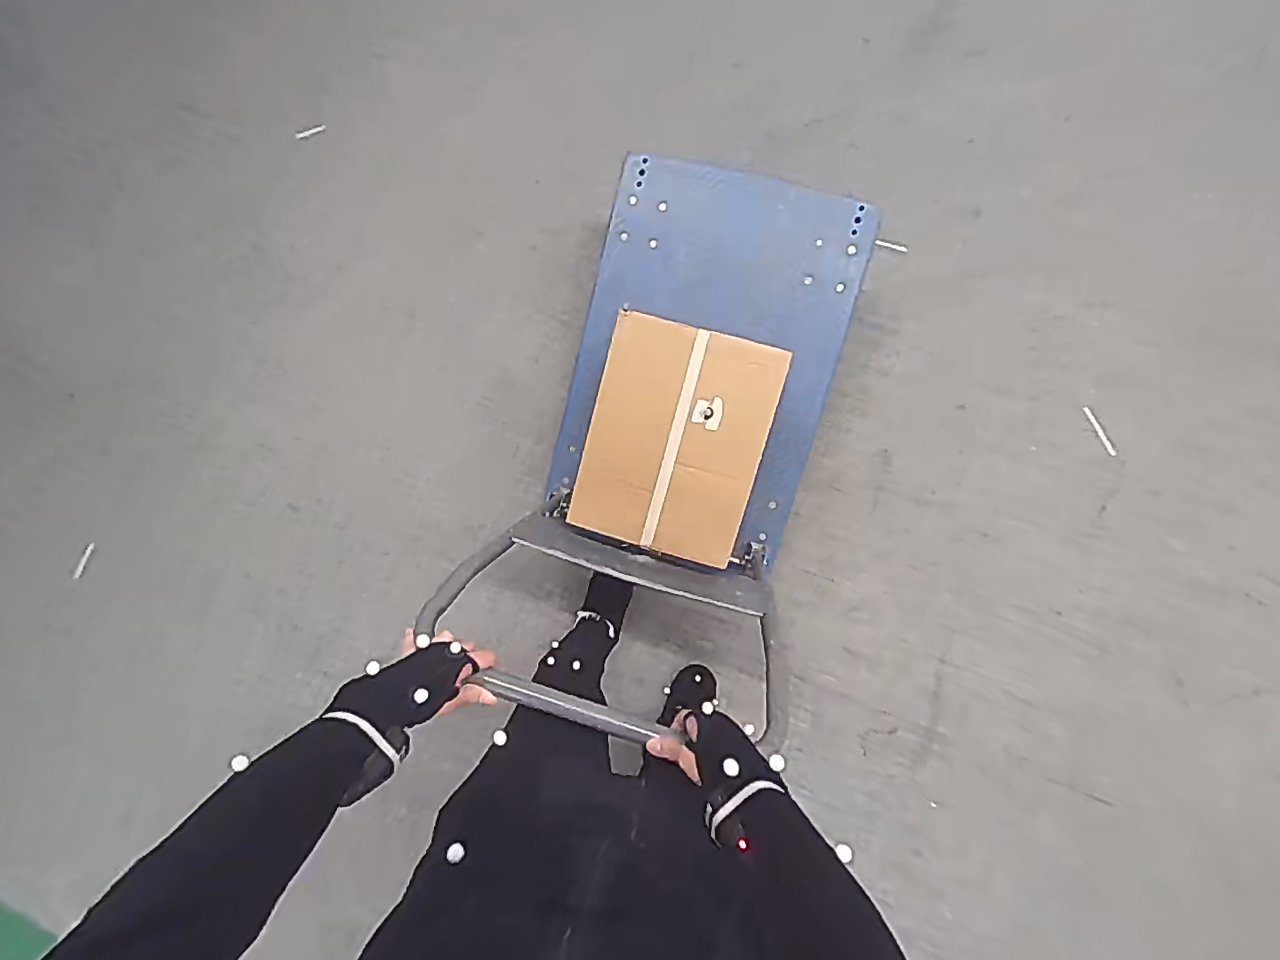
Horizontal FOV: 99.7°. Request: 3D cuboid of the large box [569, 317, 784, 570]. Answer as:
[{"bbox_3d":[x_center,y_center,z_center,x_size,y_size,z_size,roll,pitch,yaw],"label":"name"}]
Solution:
[{"bbox_3d":[0.080,-0.078,1.118,0.320,0.320,0.408,16,99,6],"label":"large box"}]
